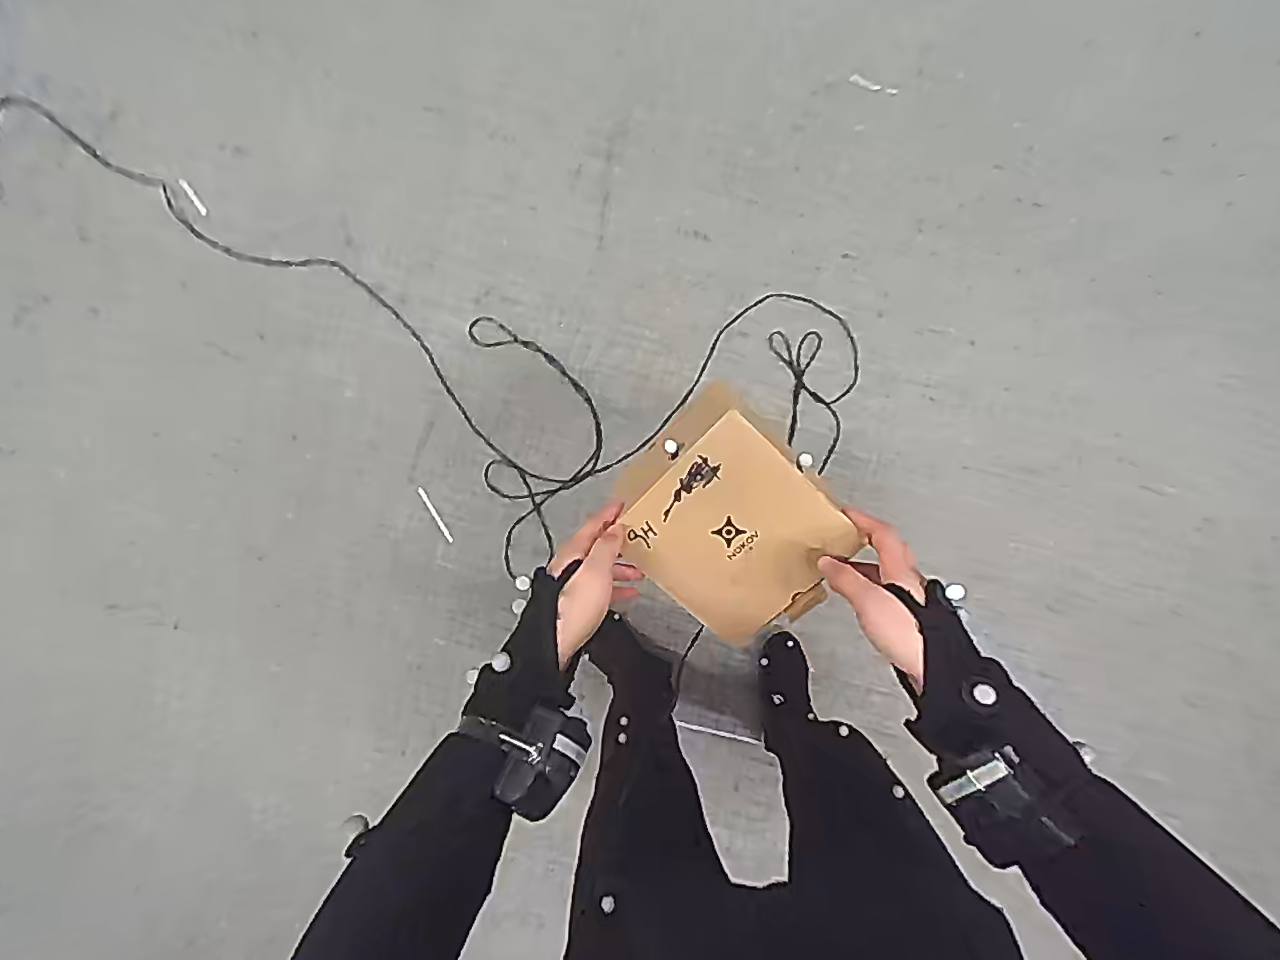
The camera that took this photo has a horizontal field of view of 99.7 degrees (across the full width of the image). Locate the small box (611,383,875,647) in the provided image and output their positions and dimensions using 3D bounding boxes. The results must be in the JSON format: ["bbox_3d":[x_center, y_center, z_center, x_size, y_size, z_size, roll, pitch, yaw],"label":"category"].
[{"bbox_3d":[0.095,0.024,0.550,0.179,0.176,0.168,42,107,-12],"label":"small box"}]
